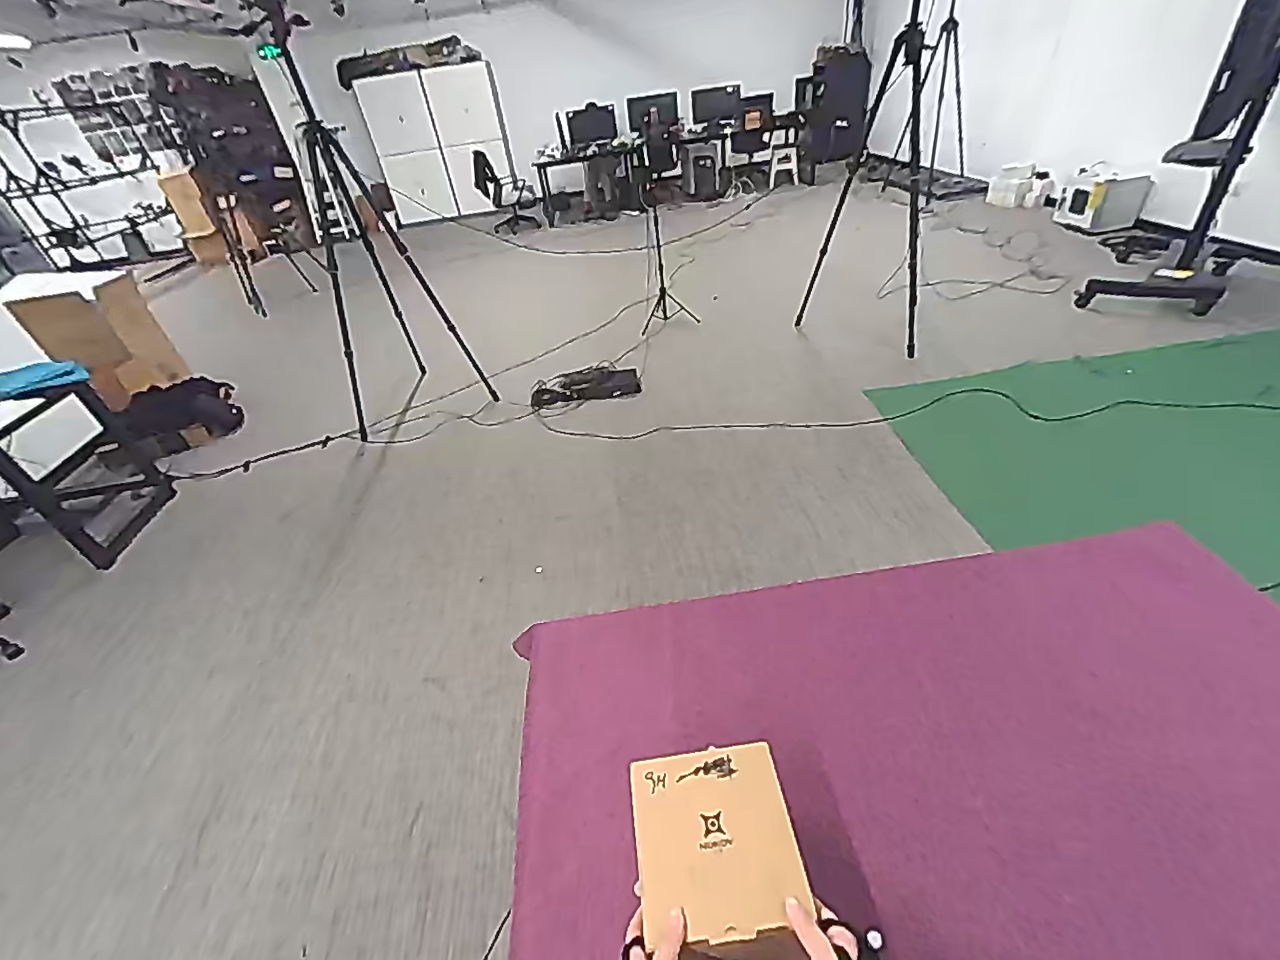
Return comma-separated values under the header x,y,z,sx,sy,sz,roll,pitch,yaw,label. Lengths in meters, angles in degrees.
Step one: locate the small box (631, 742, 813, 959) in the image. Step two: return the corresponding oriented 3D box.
x,y,z,sx,sy,sz,roll,pitch,yaw,label
0.087,0.433,0.615,0.168,0.176,0.179,-9,37,0,small box
